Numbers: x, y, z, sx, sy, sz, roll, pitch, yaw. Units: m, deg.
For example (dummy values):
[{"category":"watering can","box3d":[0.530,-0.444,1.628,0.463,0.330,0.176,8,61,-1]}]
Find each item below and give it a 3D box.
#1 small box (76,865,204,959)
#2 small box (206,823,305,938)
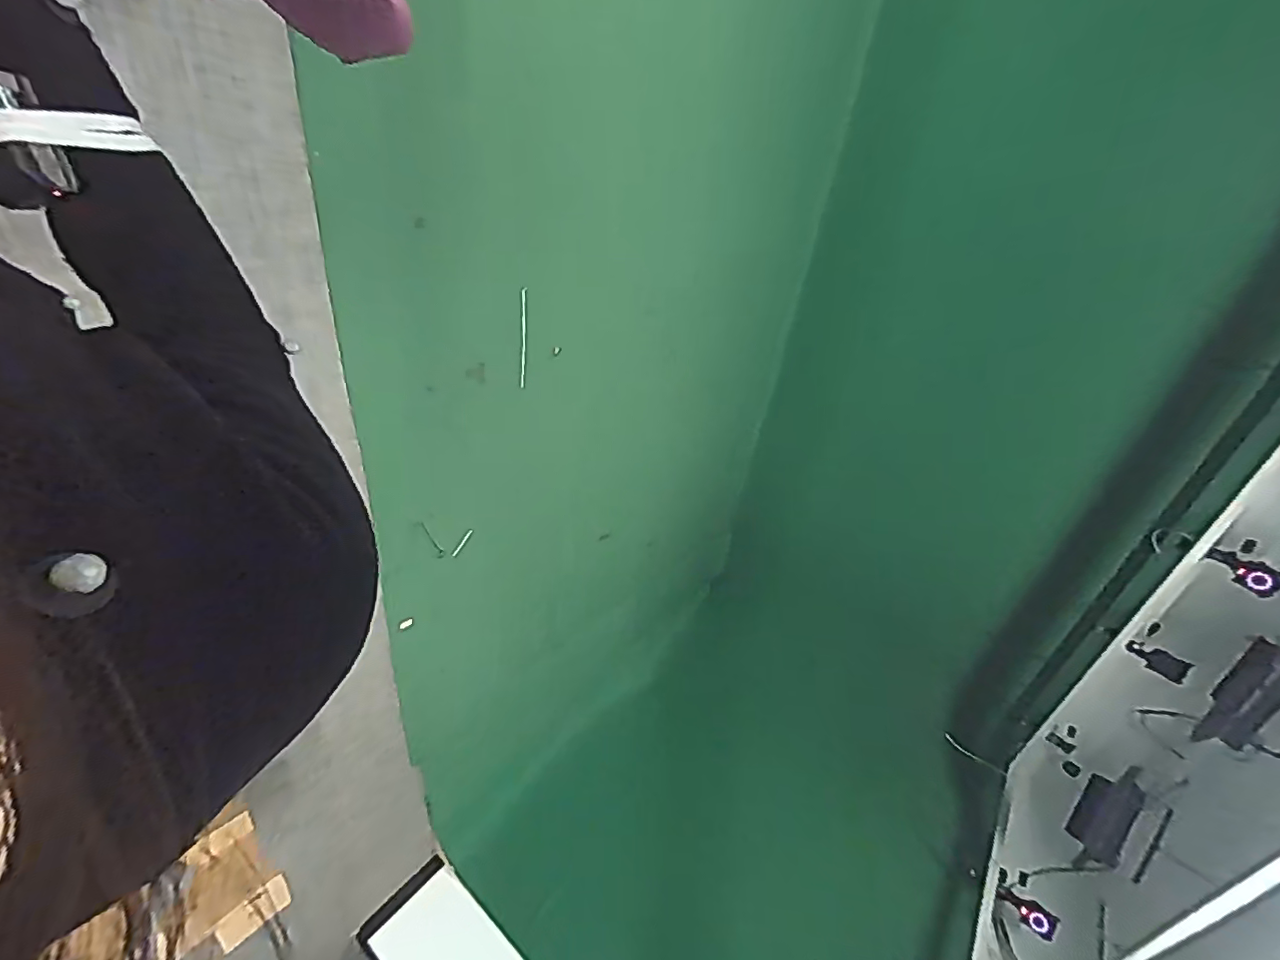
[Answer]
[{"category":"small box","box3d":[-1.204,1.092,1.300,0.179,0.176,0.168,-30,139,-45]},{"category":"small box","box3d":[-1.085,1.123,1.529,0.168,0.176,0.179,-29,139,-47]}]
